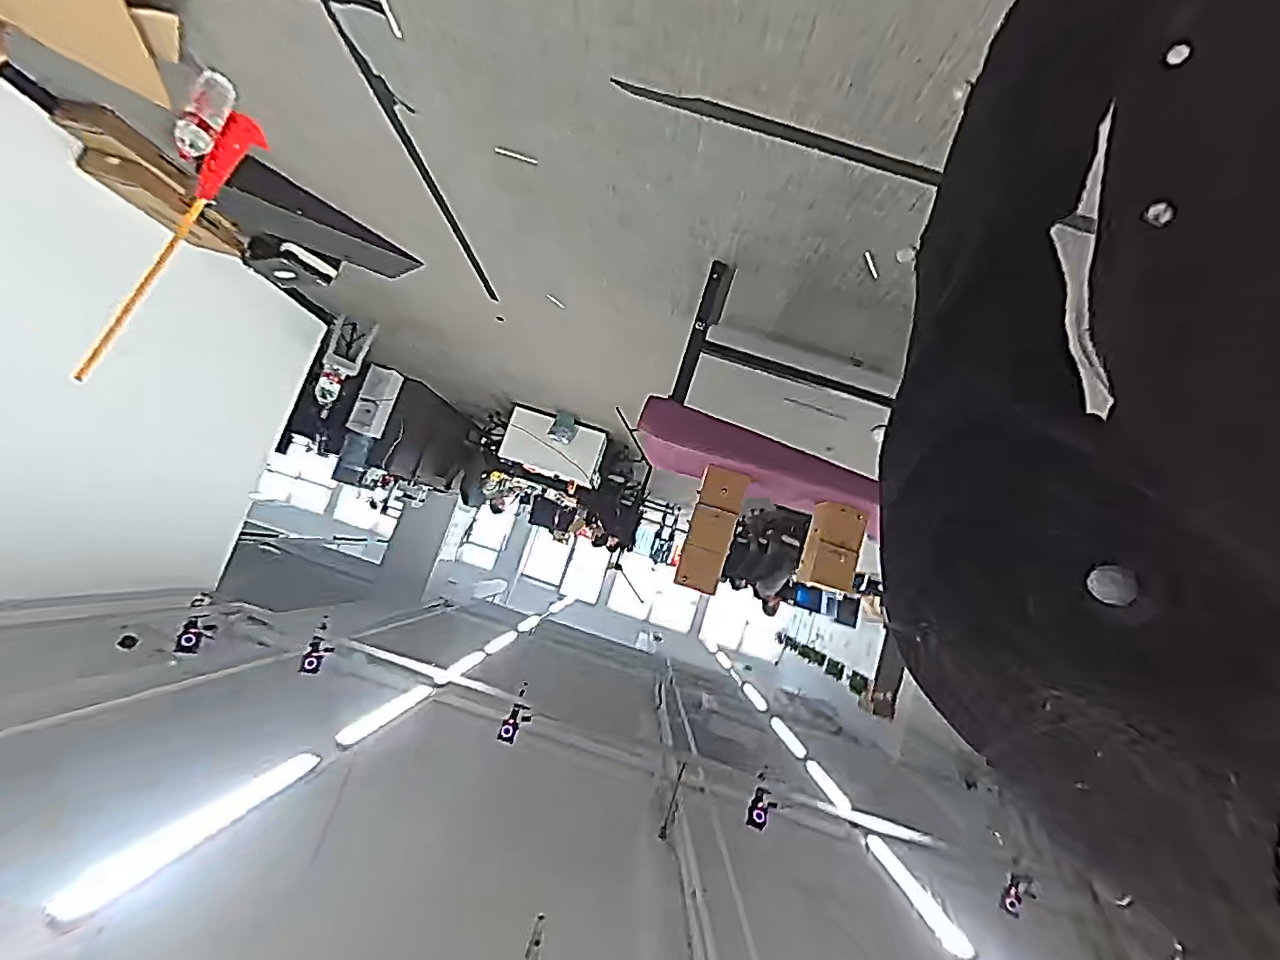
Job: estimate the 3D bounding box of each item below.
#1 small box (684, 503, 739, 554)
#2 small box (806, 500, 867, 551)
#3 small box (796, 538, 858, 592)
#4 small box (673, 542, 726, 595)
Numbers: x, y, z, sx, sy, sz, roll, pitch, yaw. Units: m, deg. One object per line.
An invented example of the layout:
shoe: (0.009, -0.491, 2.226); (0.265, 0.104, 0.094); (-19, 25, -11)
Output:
small box: (0.284, 0.193, 2.172); (0.179, 0.176, 0.168); (17, 173, 6)
small box: (0.797, 0.185, 2.184); (0.168, 0.176, 0.179); (18, 173, 2)
small box: (0.745, 0.336, 2.150); (0.168, 0.176, 0.179); (17, 171, 2)
small box: (0.236, 0.348, 2.159); (0.179, 0.176, 0.168); (16, 173, 6)
